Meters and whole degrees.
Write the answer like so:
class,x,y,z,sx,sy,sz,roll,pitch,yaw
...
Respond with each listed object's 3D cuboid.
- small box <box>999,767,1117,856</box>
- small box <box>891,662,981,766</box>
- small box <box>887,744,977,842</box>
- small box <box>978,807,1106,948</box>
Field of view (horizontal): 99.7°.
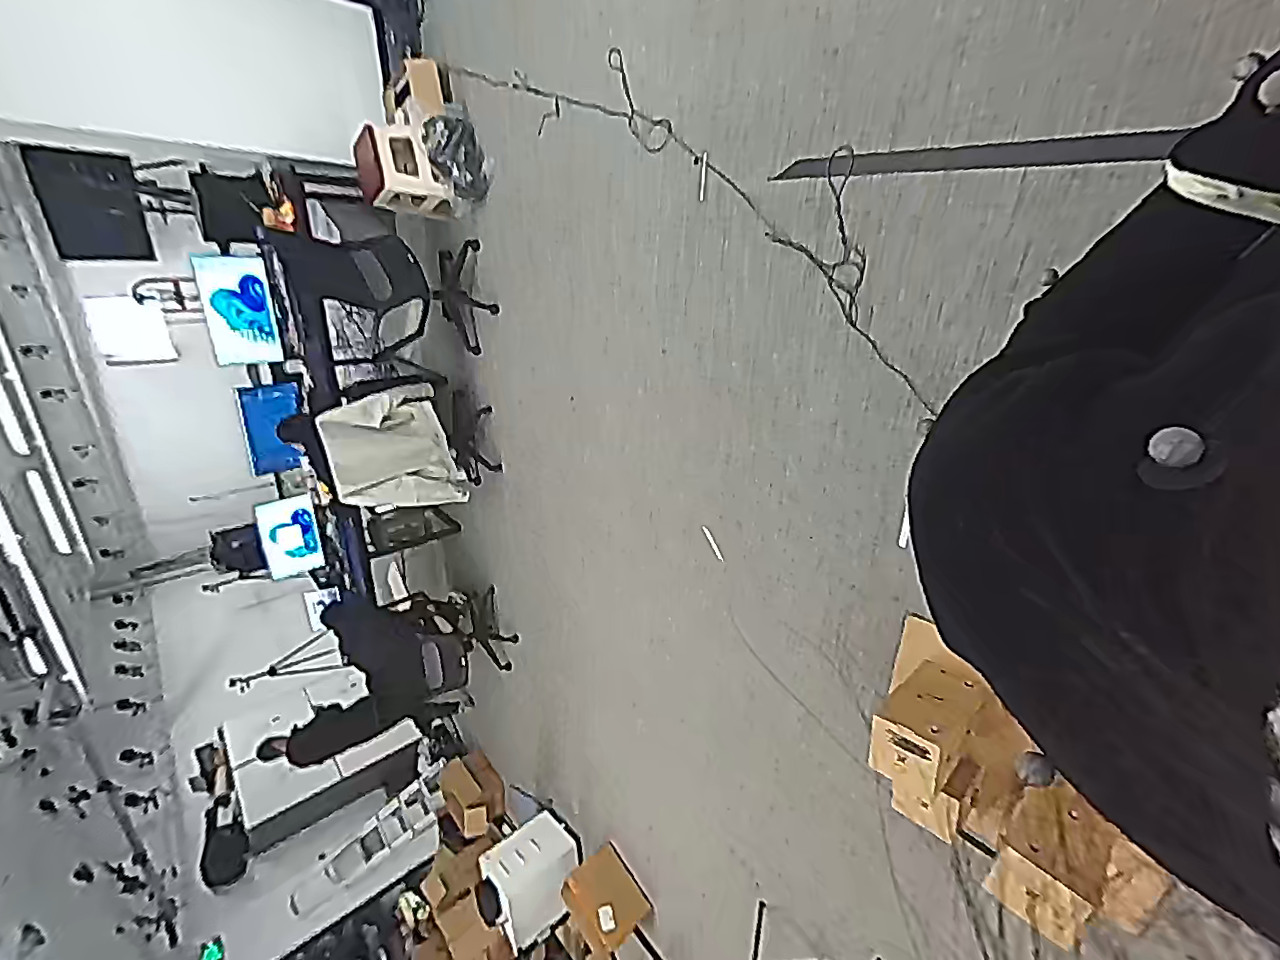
class,x,y,z,sx,sy,sz,roll,pitch,yaw
small box,1.046,0.859,1.353,0.179,0.176,0.168,26,122,40
small box,0.835,0.646,1.522,0.168,0.176,0.179,18,117,45
small box,0.858,0.898,1.591,0.179,0.176,0.168,18,118,44
small box,0.926,0.900,1.248,0.179,0.176,0.168,28,124,39
